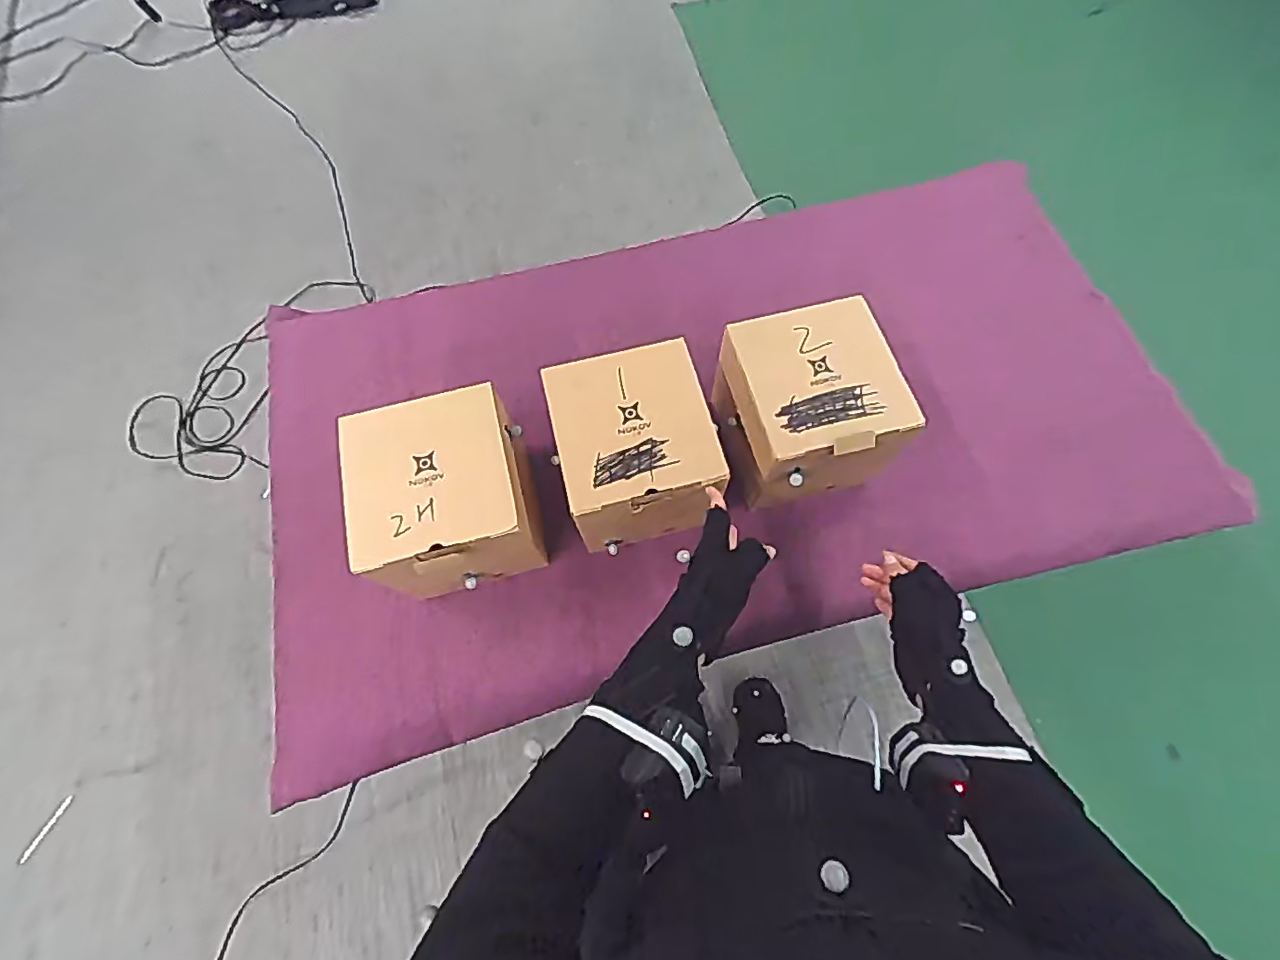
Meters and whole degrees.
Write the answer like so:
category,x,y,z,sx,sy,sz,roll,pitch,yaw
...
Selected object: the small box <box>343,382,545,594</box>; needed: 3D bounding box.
category,x,y,z,sx,sy,sz,roll,pitch,yaw
small box,-0.218,0.017,0.629,0.168,0.176,0.179,-15,70,-4
